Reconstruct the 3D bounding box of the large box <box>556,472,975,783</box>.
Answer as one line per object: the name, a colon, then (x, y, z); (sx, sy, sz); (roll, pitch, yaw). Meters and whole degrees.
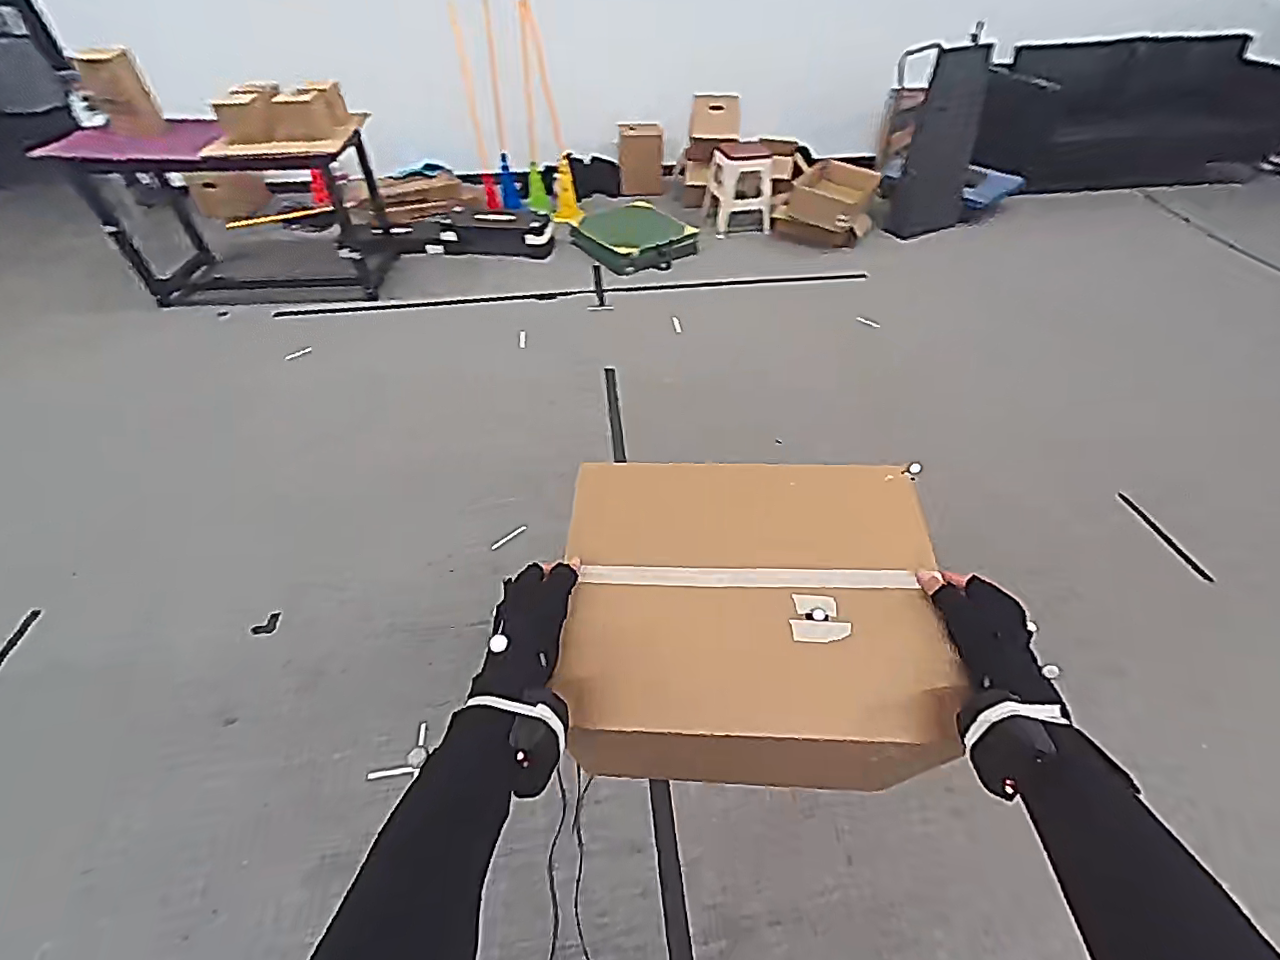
large box: (0.124, 0.204, 0.716); (0.408, 0.320, 0.320); (0, 54, 3)
